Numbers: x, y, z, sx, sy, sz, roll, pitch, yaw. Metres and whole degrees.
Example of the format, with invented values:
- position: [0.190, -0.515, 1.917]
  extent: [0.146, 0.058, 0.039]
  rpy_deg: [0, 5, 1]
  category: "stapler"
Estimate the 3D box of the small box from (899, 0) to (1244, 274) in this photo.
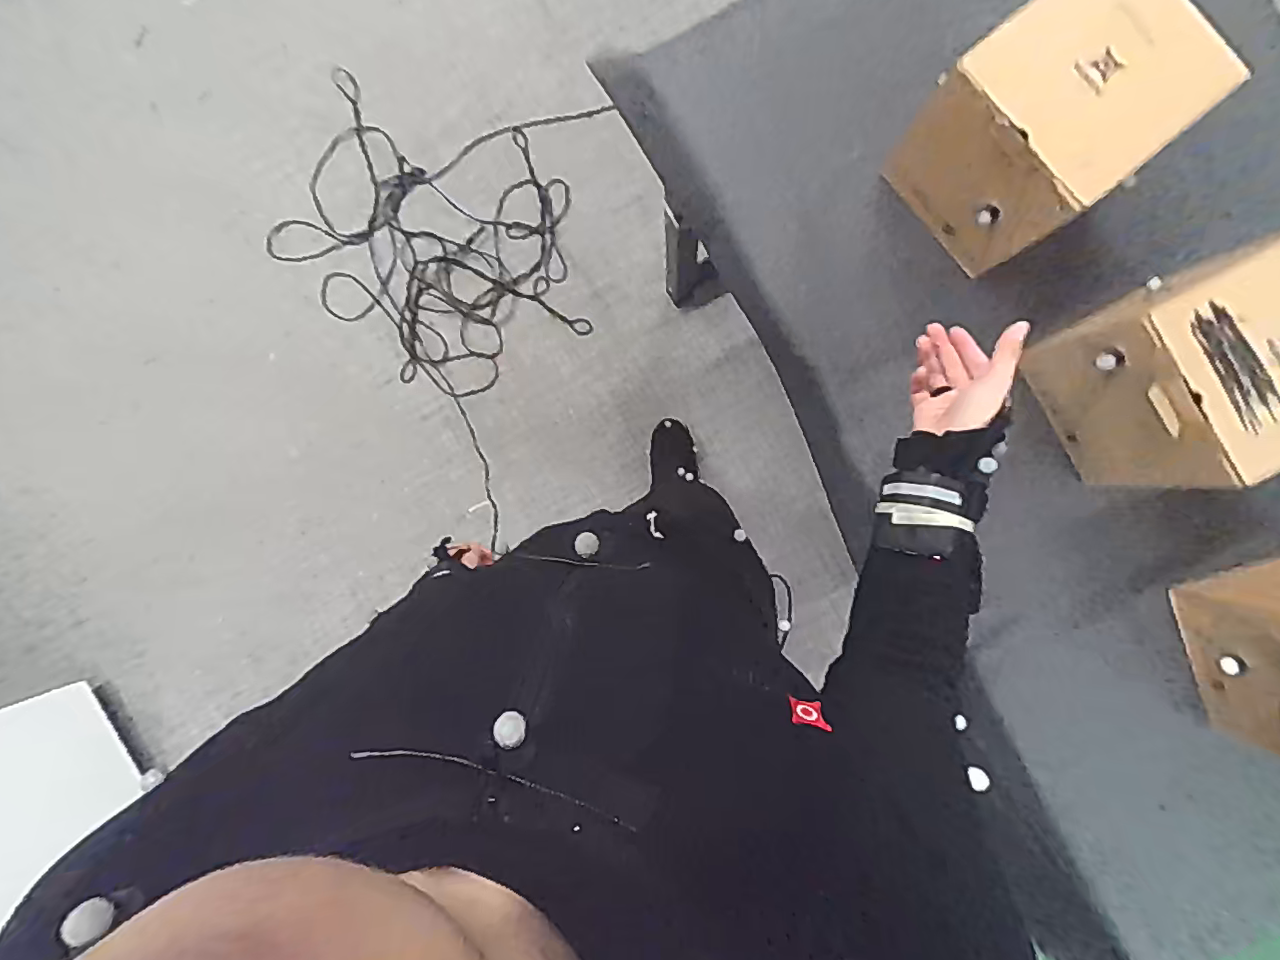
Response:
- position: [0.390, -0.340, 0.533]
  extent: [0.179, 0.176, 0.168]
  rpy_deg: [-39, 90, 1]
  category: "small box"

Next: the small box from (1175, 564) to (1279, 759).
- position: [0.696, 0.179, 0.521]
  extent: [0.179, 0.176, 0.168]
  rpy_deg: [-17, 90, 3]
  category: "small box"
